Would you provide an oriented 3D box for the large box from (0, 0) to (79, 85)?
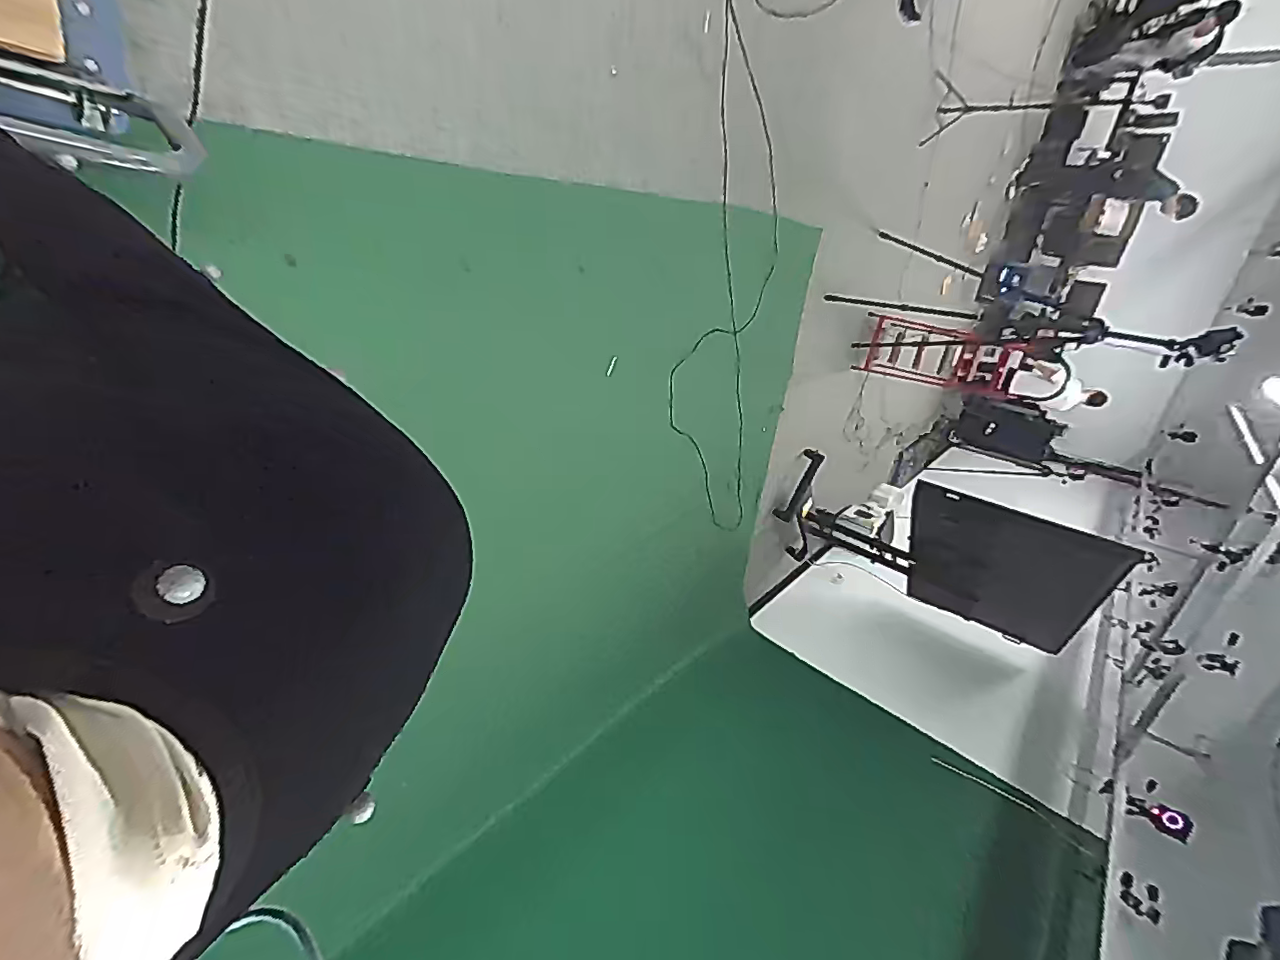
[{"bbox_3d":[-0.915,-0.742,0.616,0.320,0.320,0.408,-14,122,-48],"label":"large box"}]
